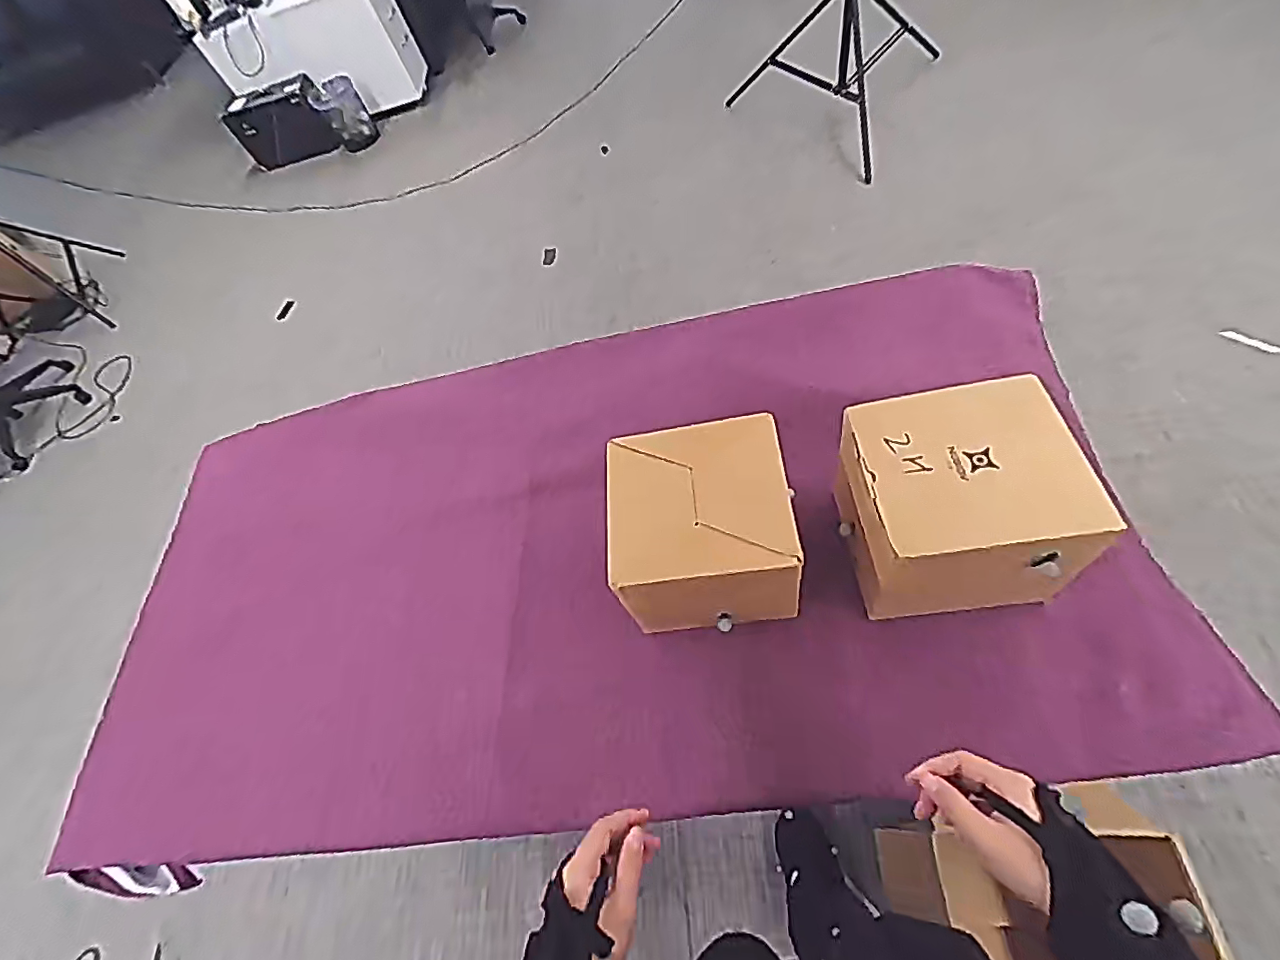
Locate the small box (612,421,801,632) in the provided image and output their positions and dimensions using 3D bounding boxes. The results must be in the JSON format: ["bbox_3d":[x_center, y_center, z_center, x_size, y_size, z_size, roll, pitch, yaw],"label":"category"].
[{"bbox_3d":[0.072,0.055,0.592,0.179,0.176,0.168,-9,57,10],"label":"small box"}]

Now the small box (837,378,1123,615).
[{"bbox_3d":[0.312,0.026,0.546,0.179,0.176,0.168,-9,56,10],"label":"small box"}]
